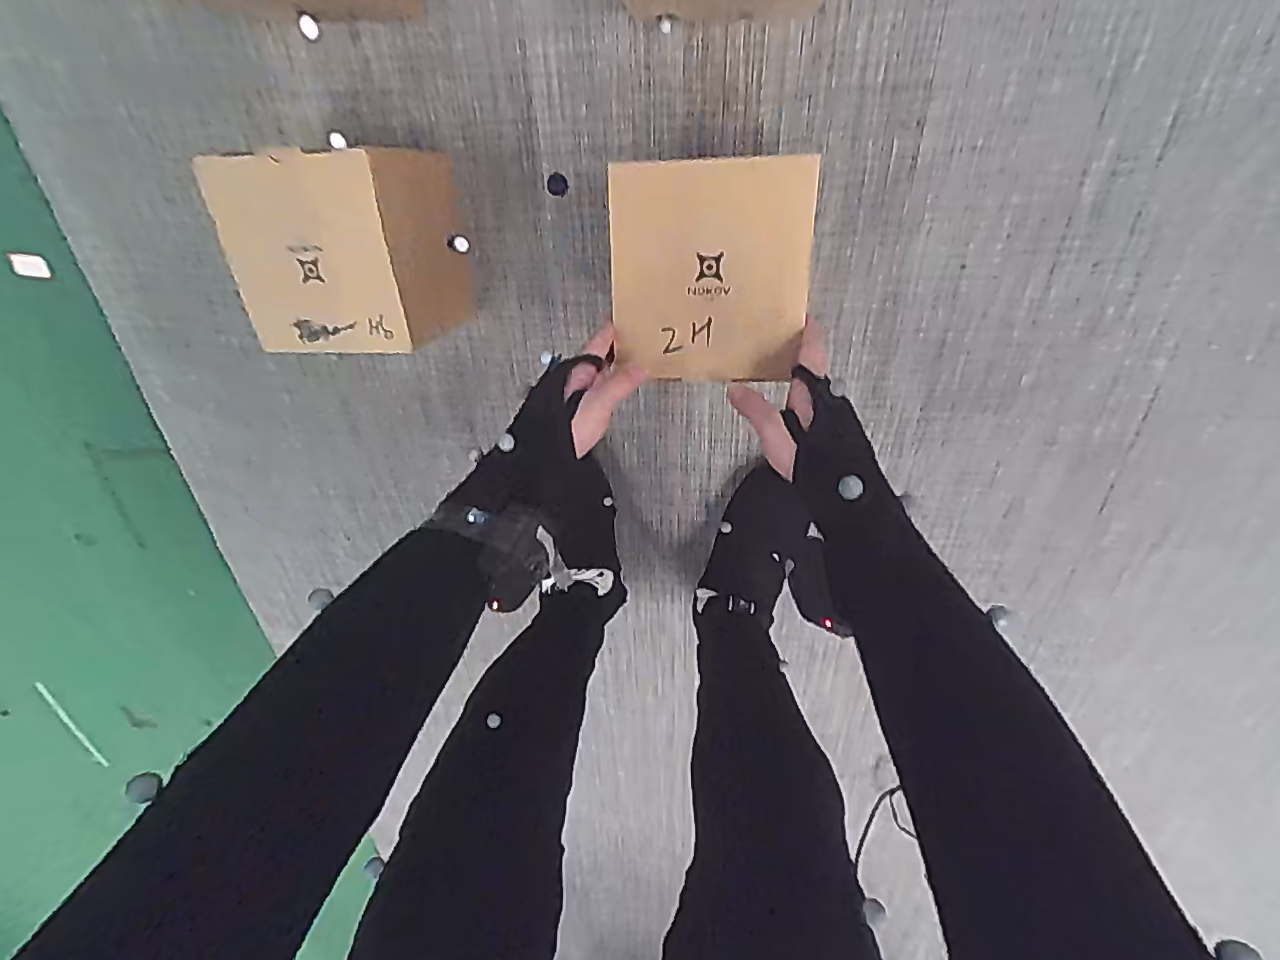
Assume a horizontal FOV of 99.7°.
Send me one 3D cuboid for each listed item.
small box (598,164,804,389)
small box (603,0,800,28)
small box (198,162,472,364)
[{"bbox_3d":[0.057,-0.191,0.527,0.168,0.176,0.179,2,111,8],"label":"small box"},{"bbox_3d":[0.051,-0.459,0.399,0.168,0.176,0.179,3,119,7],"label":"small box"},{"bbox_3d":[-0.300,-0.232,0.579,0.168,0.176,0.179,3,118,9],"label":"small box"}]
